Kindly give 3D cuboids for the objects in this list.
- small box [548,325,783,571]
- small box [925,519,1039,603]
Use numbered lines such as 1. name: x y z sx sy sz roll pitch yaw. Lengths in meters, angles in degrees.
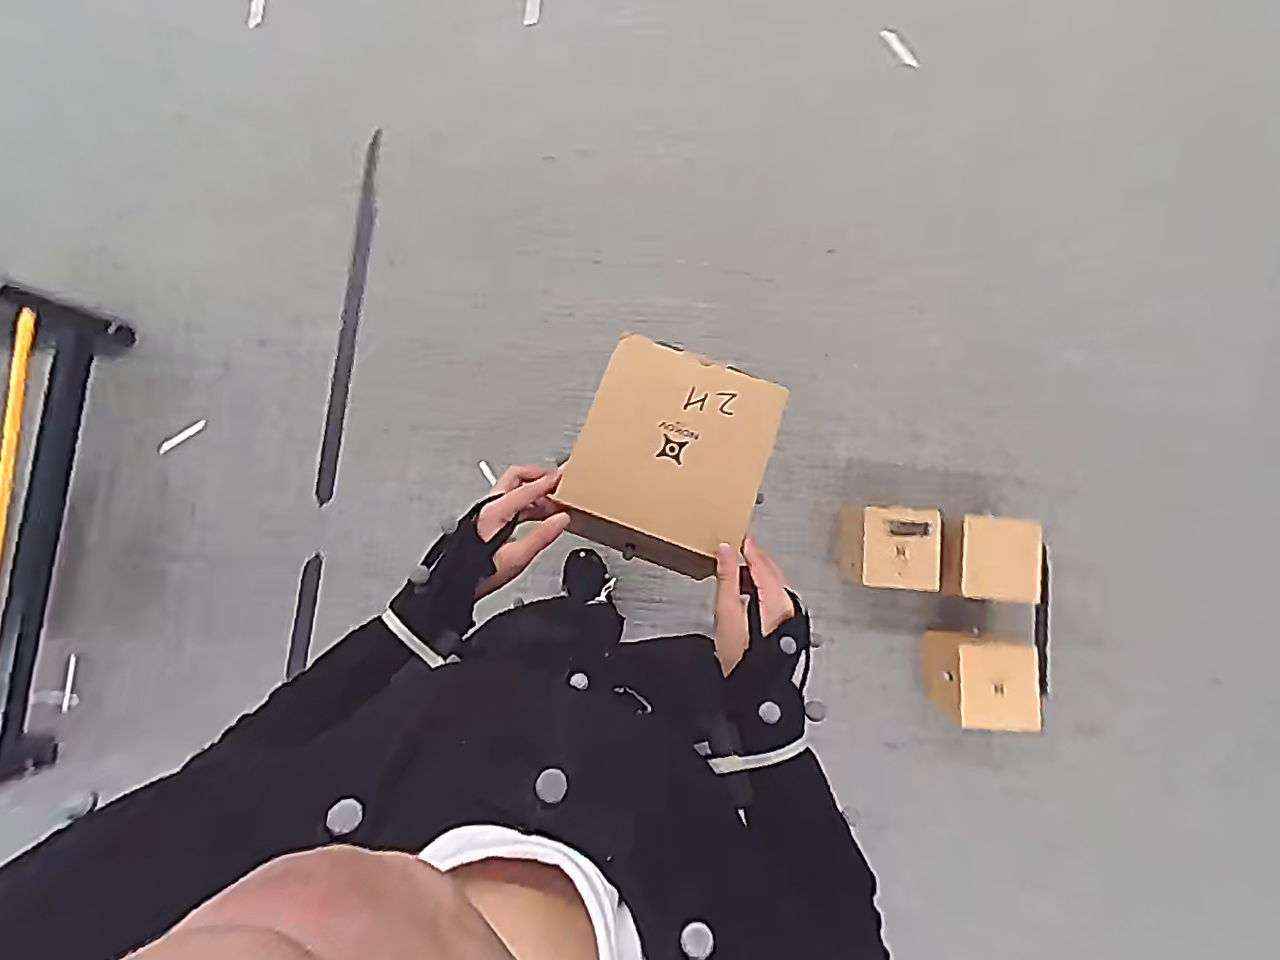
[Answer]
1. small box: 0.022 -0.018 0.549 0.168 0.176 0.179 20 74 1
2. small box: 0.788 0.186 1.254 0.168 0.176 0.179 6 85 3
